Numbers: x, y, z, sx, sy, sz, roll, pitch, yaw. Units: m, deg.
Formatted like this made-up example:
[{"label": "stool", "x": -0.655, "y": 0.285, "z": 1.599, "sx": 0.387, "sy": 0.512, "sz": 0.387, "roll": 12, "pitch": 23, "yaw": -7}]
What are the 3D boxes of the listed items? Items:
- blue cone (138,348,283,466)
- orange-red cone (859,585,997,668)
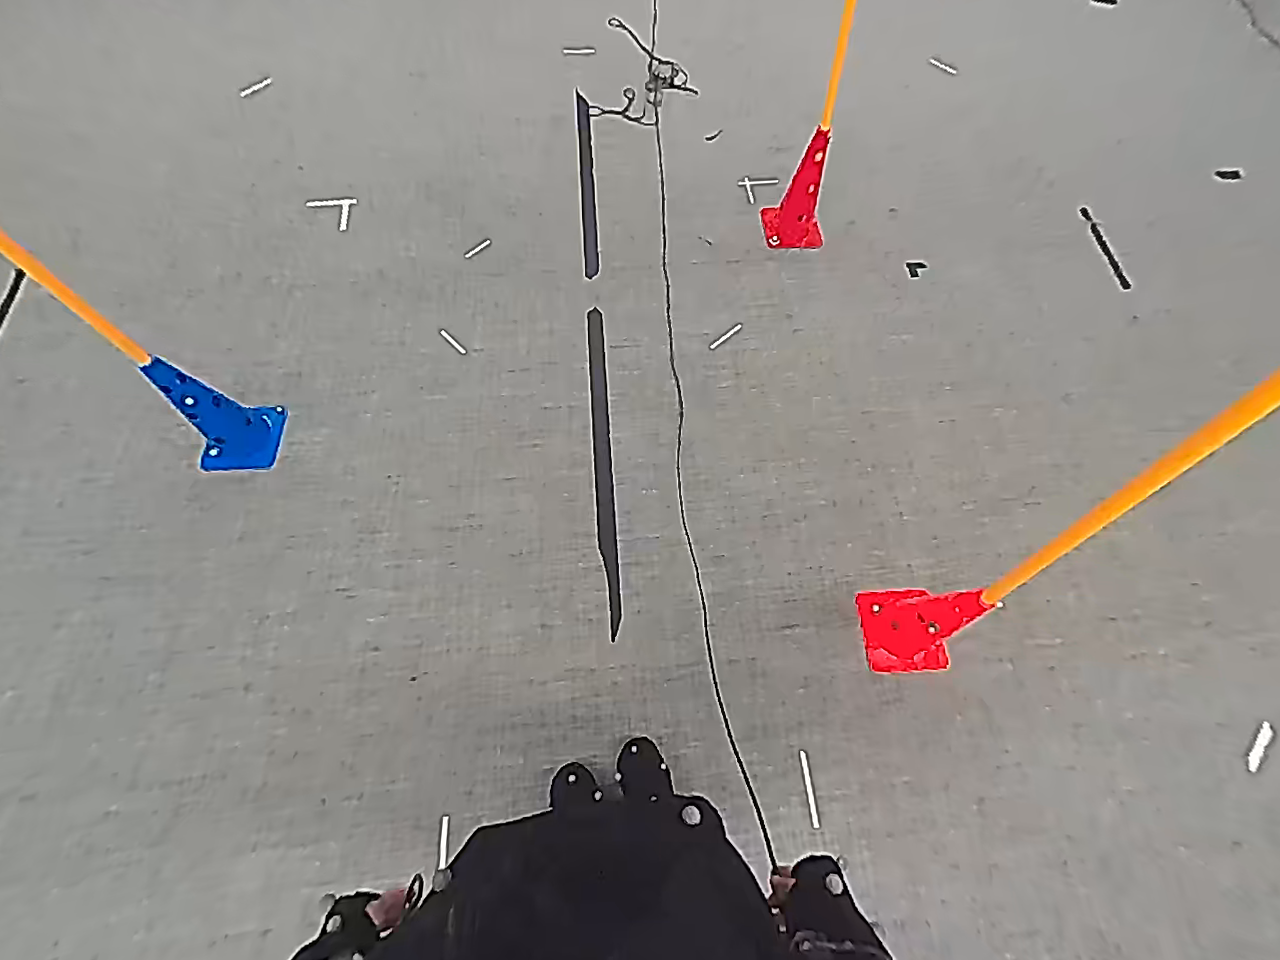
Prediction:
[{"label": "blue cone", "x": -1.114, "y": -0.194, "z": 1.377, "sx": 0.193, "sy": 0.380, "sz": 0.192, "roll": -1, "pitch": 65, "yaw": -2}, {"label": "orange-red cone", "x": 0.657, "y": 0.291, "z": 1.185, "sx": 0.198, "sy": 0.360, "sz": 0.199, "roll": -1, "pitch": 66, "yaw": -2}]
